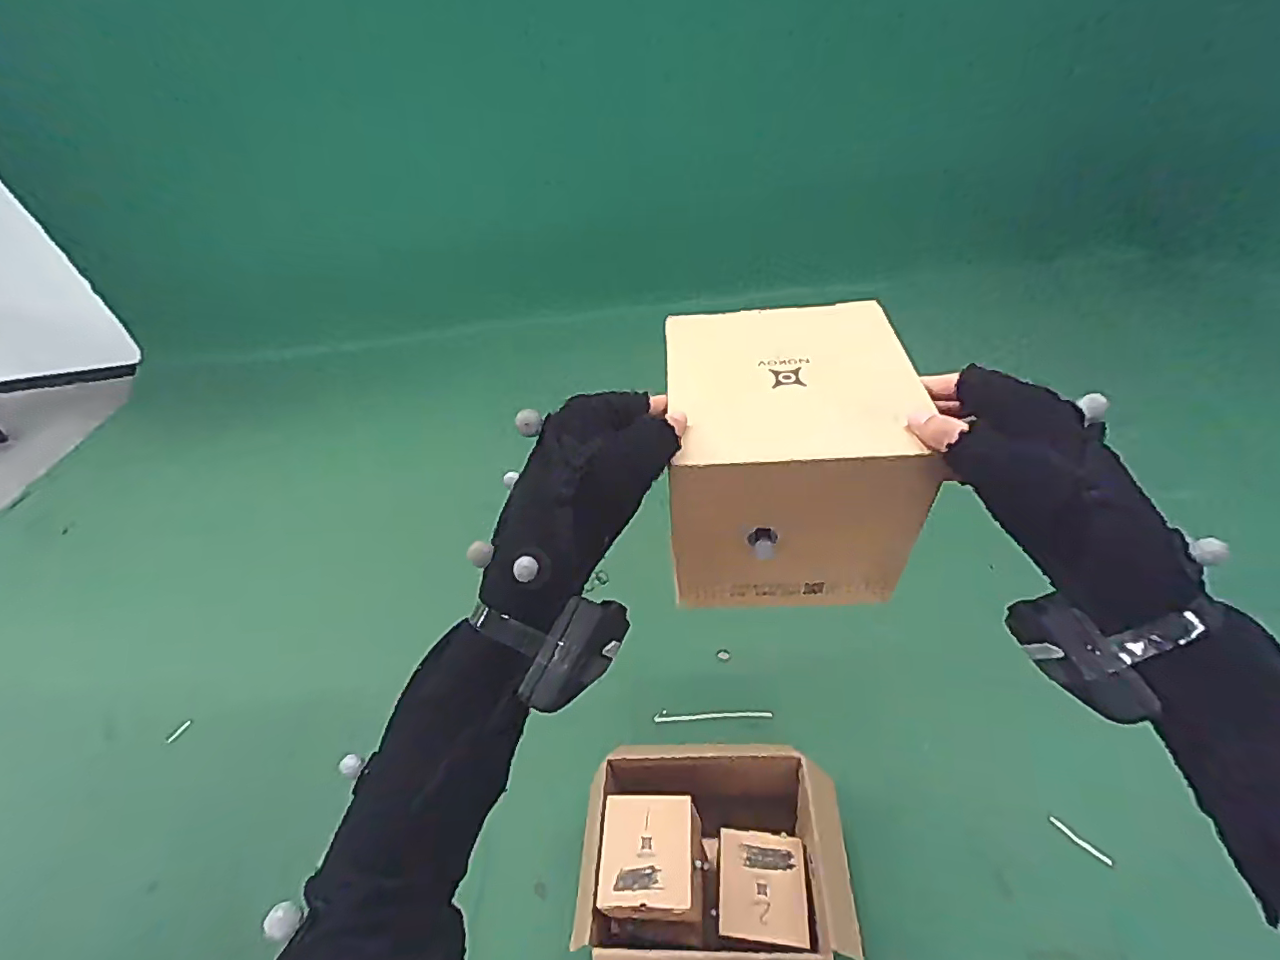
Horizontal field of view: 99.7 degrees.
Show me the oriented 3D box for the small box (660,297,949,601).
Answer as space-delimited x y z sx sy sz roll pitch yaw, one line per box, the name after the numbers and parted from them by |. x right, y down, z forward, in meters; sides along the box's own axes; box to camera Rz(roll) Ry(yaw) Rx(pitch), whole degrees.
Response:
0.106 -0.017 0.422 0.168 0.176 0.179 -3 45 6 | small box
